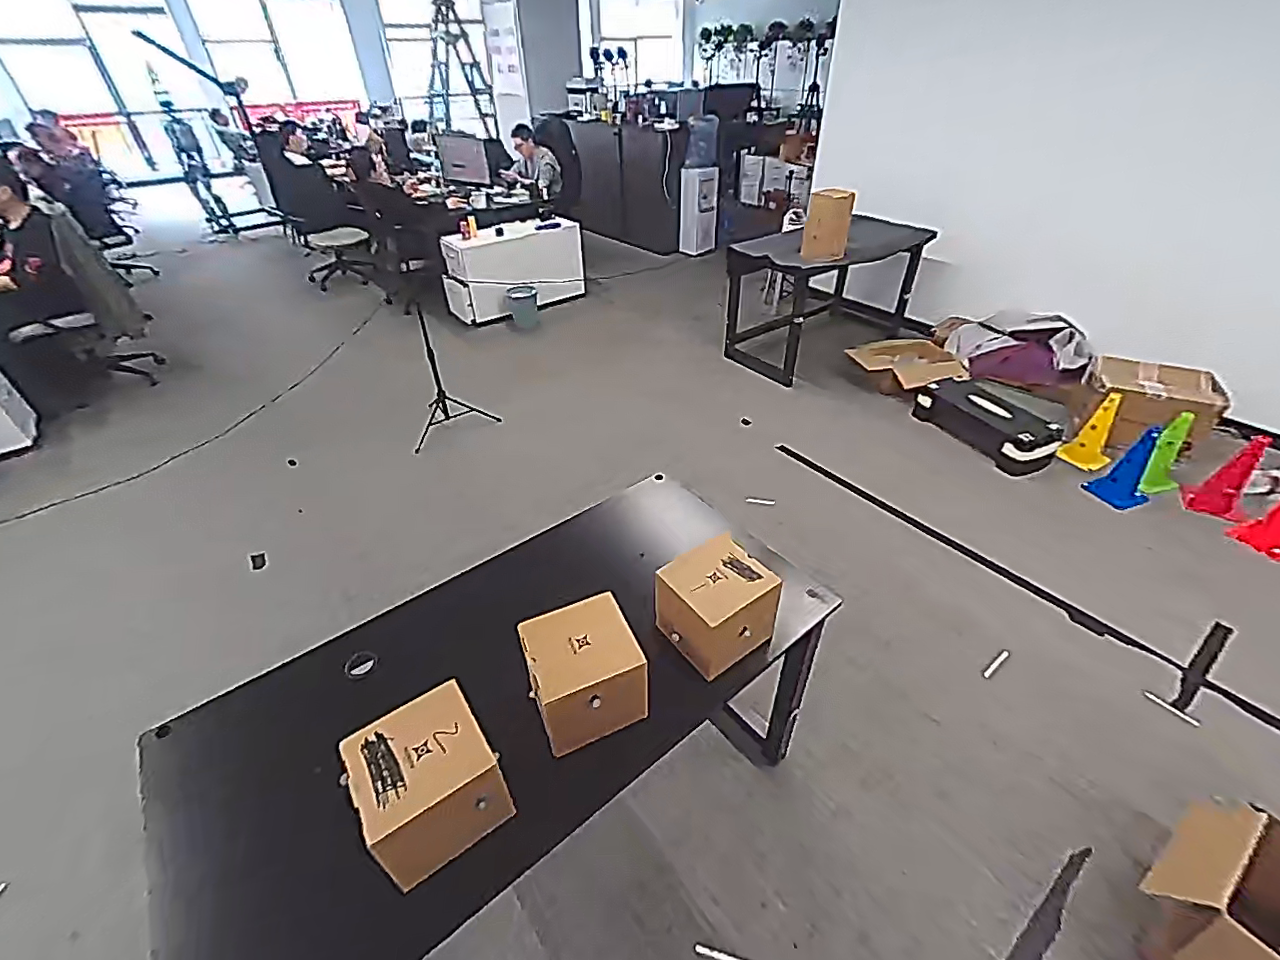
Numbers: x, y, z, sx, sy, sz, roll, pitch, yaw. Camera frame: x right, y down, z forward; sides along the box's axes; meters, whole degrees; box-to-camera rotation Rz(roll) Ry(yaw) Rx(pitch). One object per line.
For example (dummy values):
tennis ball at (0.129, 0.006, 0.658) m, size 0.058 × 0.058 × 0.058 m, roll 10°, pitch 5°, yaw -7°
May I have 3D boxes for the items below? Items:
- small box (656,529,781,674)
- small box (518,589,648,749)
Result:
small box at (0.146, 0.234, 1.048) m, size 0.179 × 0.176 × 0.168 m, roll -26°, pitch 44°, yaw -26°
small box at (-0.097, 0.328, 0.944) m, size 0.179 × 0.176 × 0.168 m, roll -18°, pitch 40°, yaw -18°
